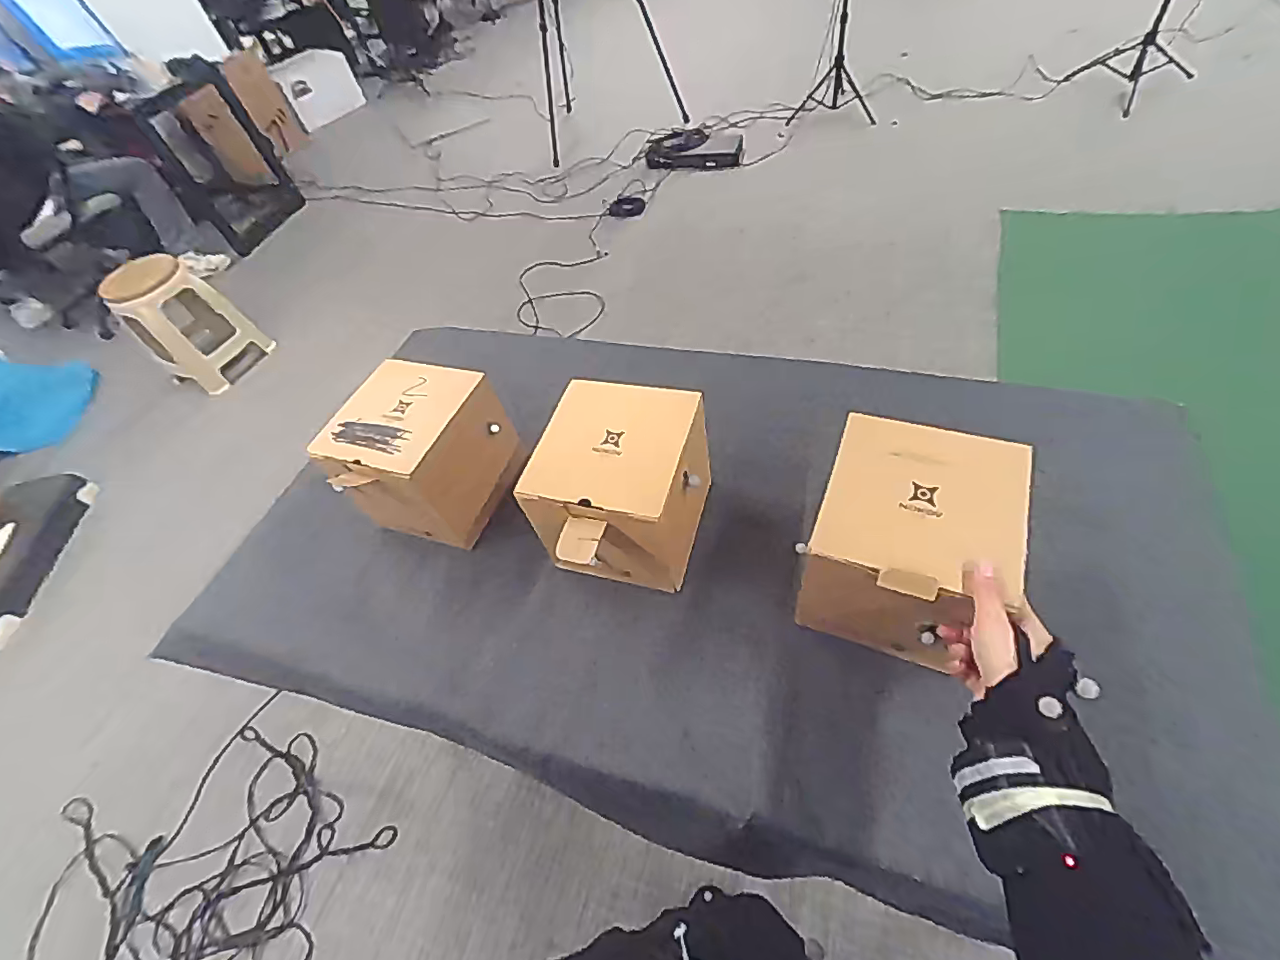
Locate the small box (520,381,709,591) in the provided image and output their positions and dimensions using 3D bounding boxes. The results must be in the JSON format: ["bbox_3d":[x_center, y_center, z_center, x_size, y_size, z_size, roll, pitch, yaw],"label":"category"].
[{"bbox_3d":[-0.015,0.008,0.654,0.168,0.176,0.179,9,57,18],"label":"small box"}]

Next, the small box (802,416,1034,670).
[{"bbox_3d":[0.269,0.067,0.550,0.168,0.176,0.179,15,57,20],"label":"small box"}]
